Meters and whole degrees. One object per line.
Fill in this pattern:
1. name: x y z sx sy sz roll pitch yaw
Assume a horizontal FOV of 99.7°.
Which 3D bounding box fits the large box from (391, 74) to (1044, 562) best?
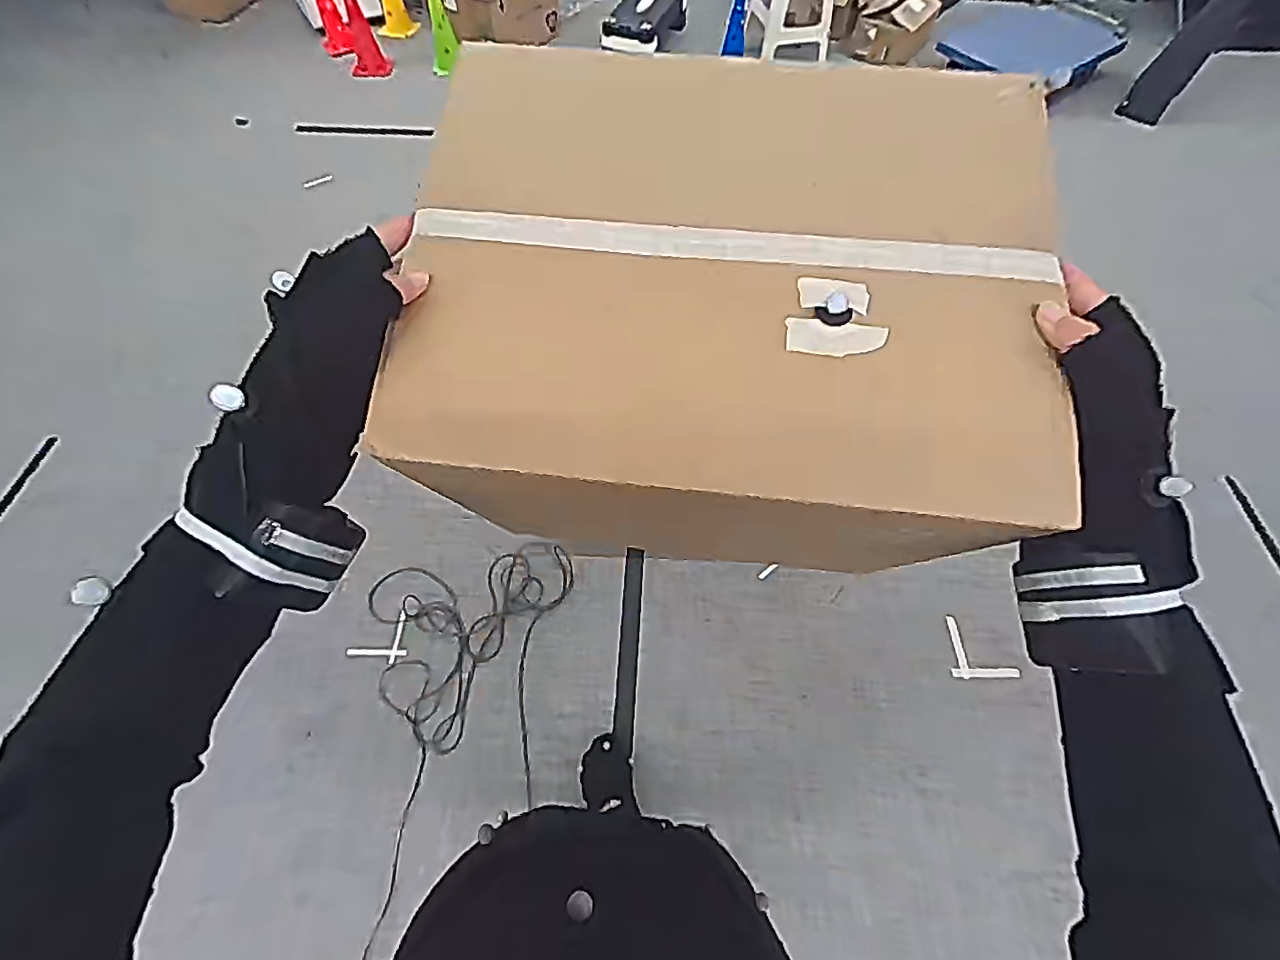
1. large box: 0.058 -0.109 0.506 0.408 0.320 0.320 6 77 4
